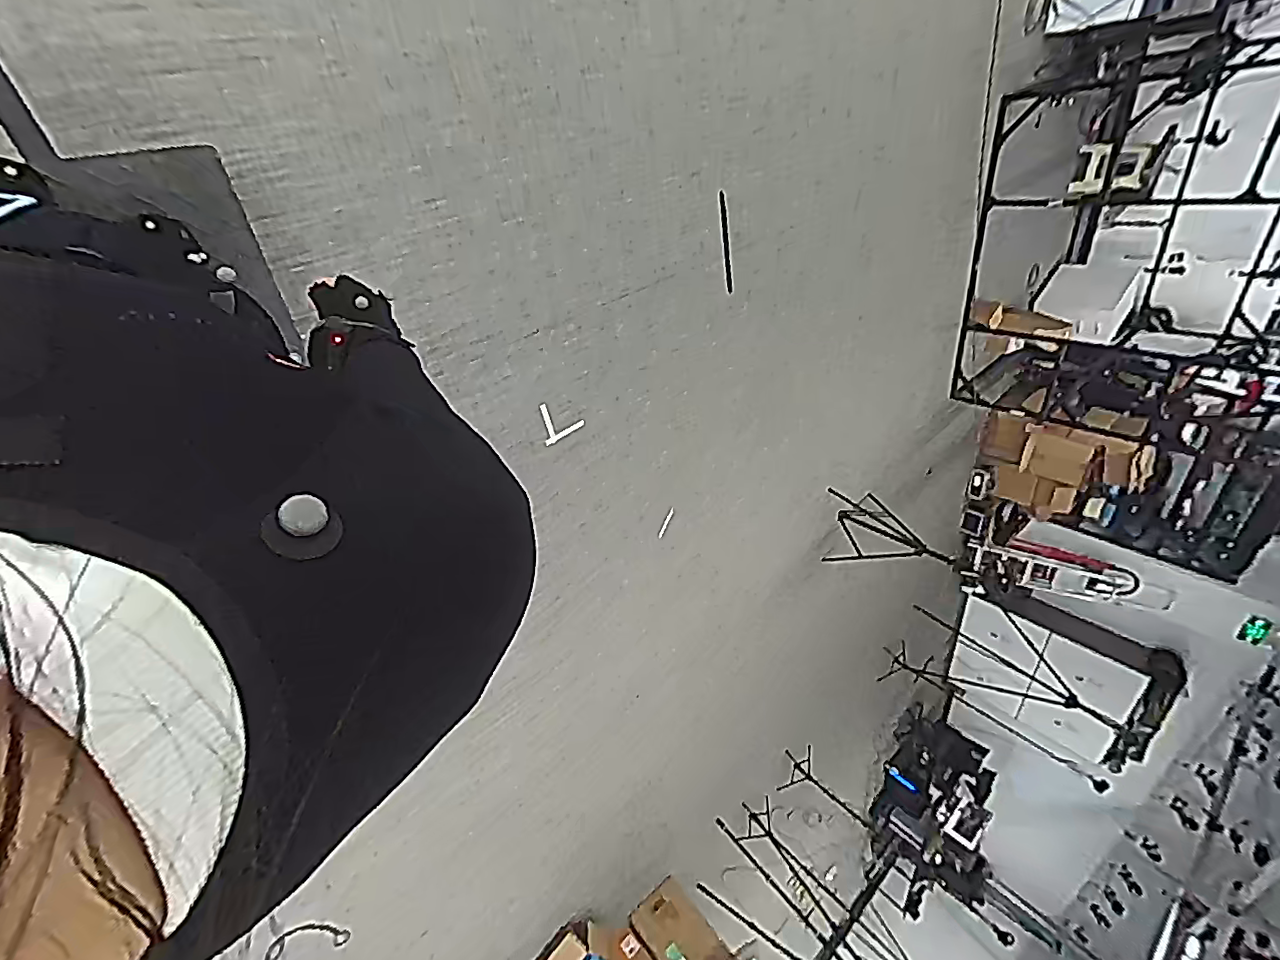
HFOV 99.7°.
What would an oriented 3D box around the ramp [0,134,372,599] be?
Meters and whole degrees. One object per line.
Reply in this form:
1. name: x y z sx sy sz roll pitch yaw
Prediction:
1. ramp: -0.998 -0.167 1.209 0.509 0.206 0.991 -32 130 -29
